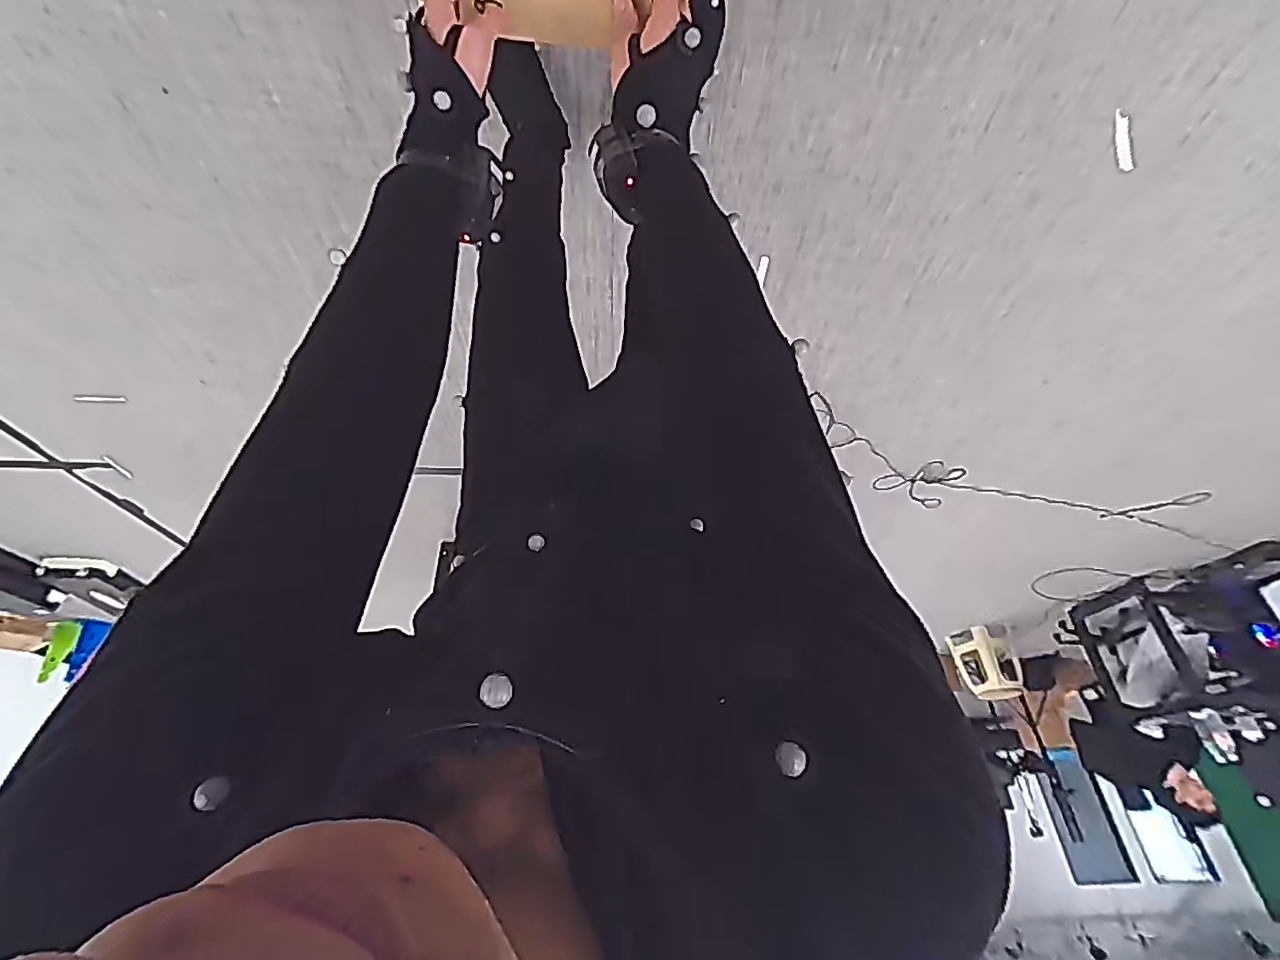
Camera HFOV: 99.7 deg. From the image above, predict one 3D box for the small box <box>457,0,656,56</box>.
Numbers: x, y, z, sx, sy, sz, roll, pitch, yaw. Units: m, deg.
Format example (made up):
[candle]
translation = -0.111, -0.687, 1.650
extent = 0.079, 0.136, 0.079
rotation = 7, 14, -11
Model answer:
[small box]
translation = -0.071, -0.516, 0.480
extent = 0.179, 0.176, 0.168
rotation = 2, 145, -6
